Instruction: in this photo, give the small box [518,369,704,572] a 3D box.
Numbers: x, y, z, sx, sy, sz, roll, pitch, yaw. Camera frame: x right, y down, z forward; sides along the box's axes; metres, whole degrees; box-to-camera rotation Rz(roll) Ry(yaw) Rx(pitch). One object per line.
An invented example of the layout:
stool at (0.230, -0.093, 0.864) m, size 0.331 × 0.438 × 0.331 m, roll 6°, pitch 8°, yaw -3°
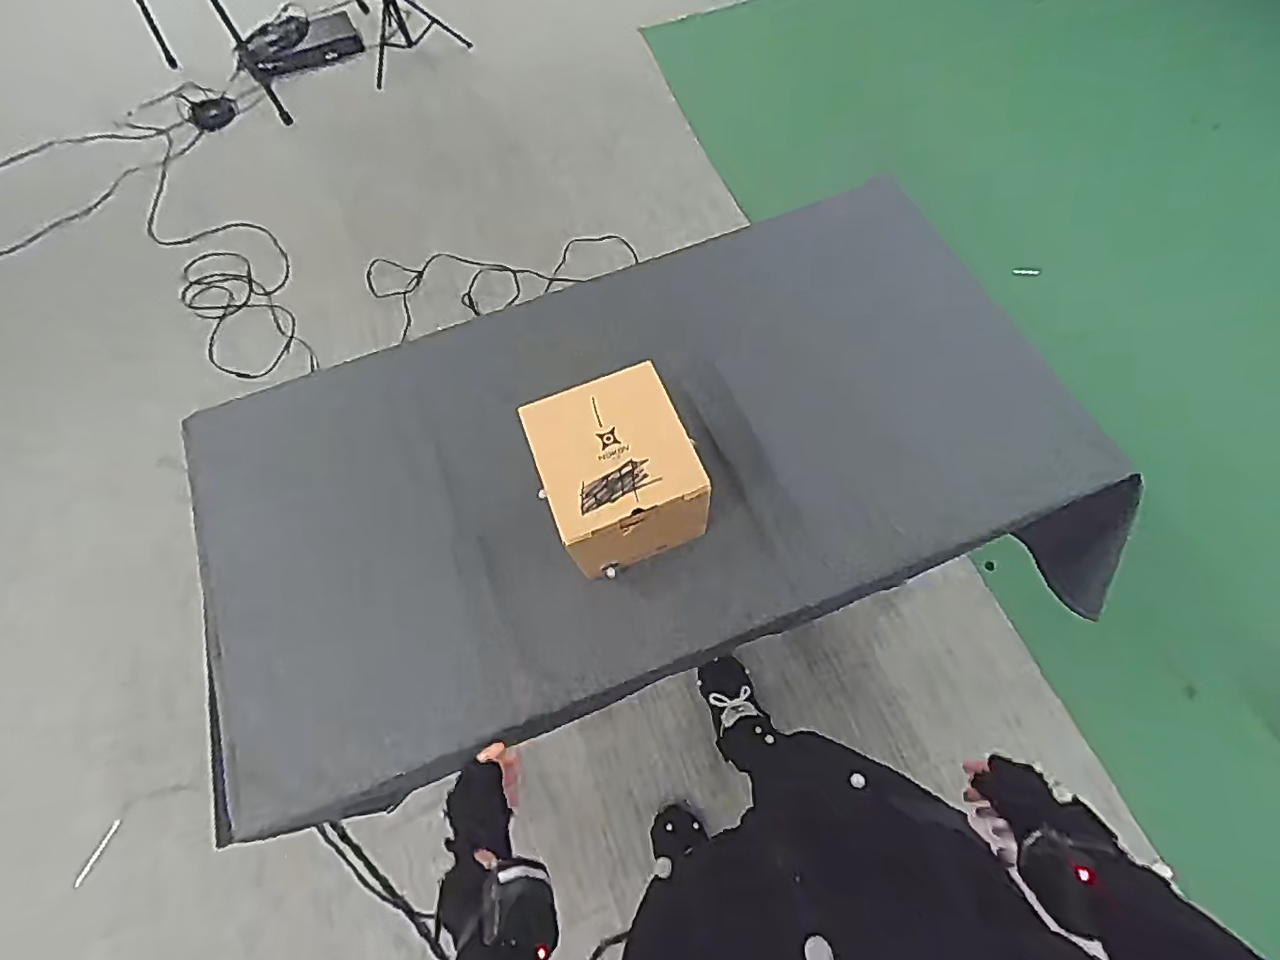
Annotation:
small box at (-0.029, 0.001, 0.668) m, size 0.168 × 0.176 × 0.179 m, roll -21°, pitch 66°, yaw -5°
